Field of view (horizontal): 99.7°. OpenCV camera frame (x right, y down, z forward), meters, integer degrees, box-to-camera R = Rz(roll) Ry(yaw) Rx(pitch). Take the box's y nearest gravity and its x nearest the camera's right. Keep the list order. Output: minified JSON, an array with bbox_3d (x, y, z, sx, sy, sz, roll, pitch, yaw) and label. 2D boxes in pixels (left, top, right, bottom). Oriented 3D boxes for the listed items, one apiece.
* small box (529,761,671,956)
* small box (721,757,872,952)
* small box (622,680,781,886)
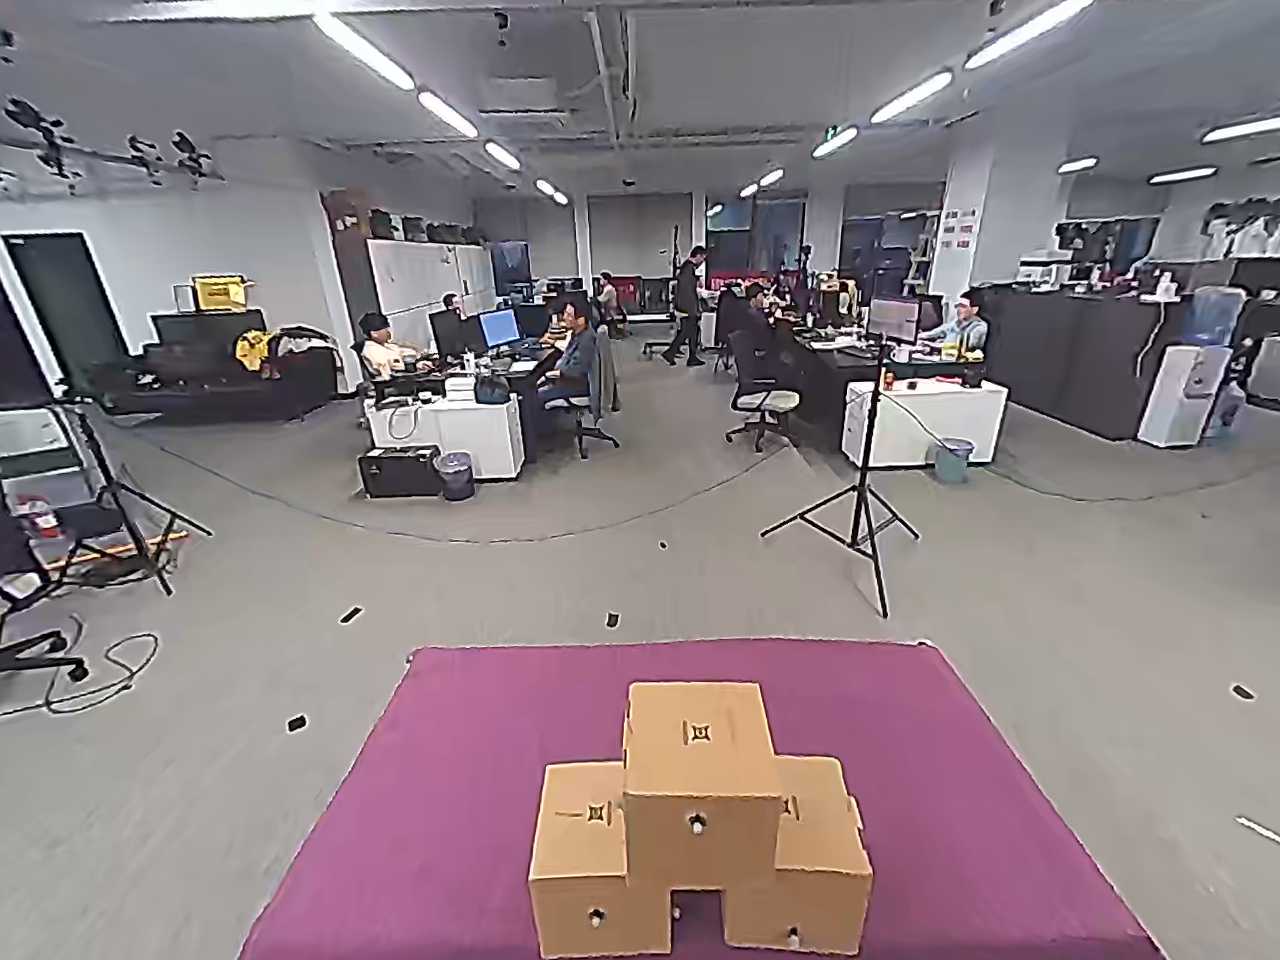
[{"bbox_3d":[-0.046,0.527,0.763,0.179,0.176,0.168,-3,21,0],"label":"small box"},{"bbox_3d":[0.204,0.521,0.762,0.179,0.176,0.168,-1,22,5],"label":"small box"},{"bbox_3d":[0.072,0.379,0.686,0.179,0.176,0.168,0,23,2],"label":"small box"}]
